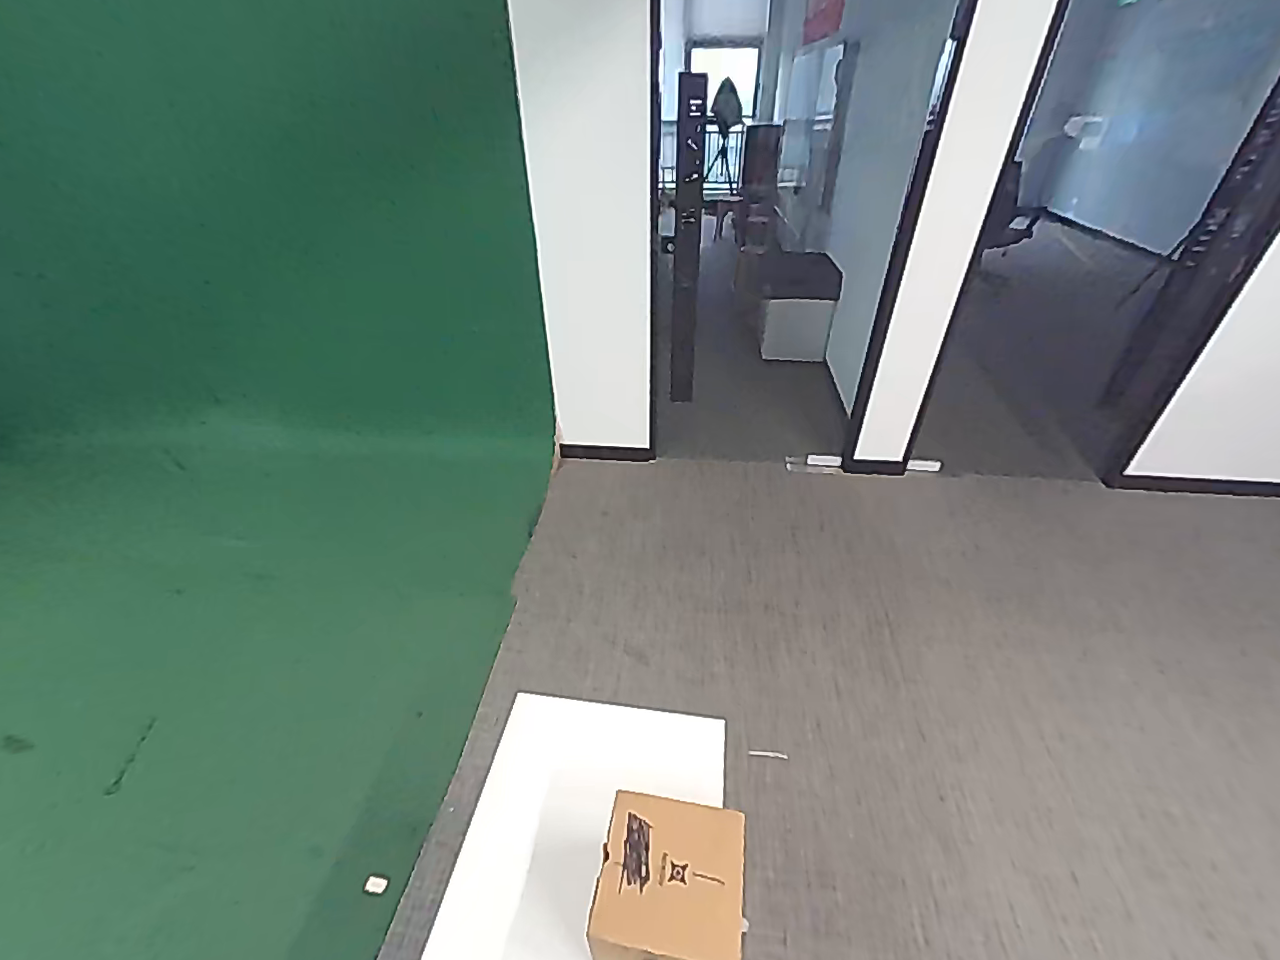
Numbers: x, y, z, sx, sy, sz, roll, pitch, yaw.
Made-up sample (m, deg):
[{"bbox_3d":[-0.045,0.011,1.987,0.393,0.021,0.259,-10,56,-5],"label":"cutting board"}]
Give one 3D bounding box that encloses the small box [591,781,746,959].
[{"bbox_3d":[0.044,0.538,0.722,0.179,0.176,0.168,6,37,9],"label":"small box"}]
